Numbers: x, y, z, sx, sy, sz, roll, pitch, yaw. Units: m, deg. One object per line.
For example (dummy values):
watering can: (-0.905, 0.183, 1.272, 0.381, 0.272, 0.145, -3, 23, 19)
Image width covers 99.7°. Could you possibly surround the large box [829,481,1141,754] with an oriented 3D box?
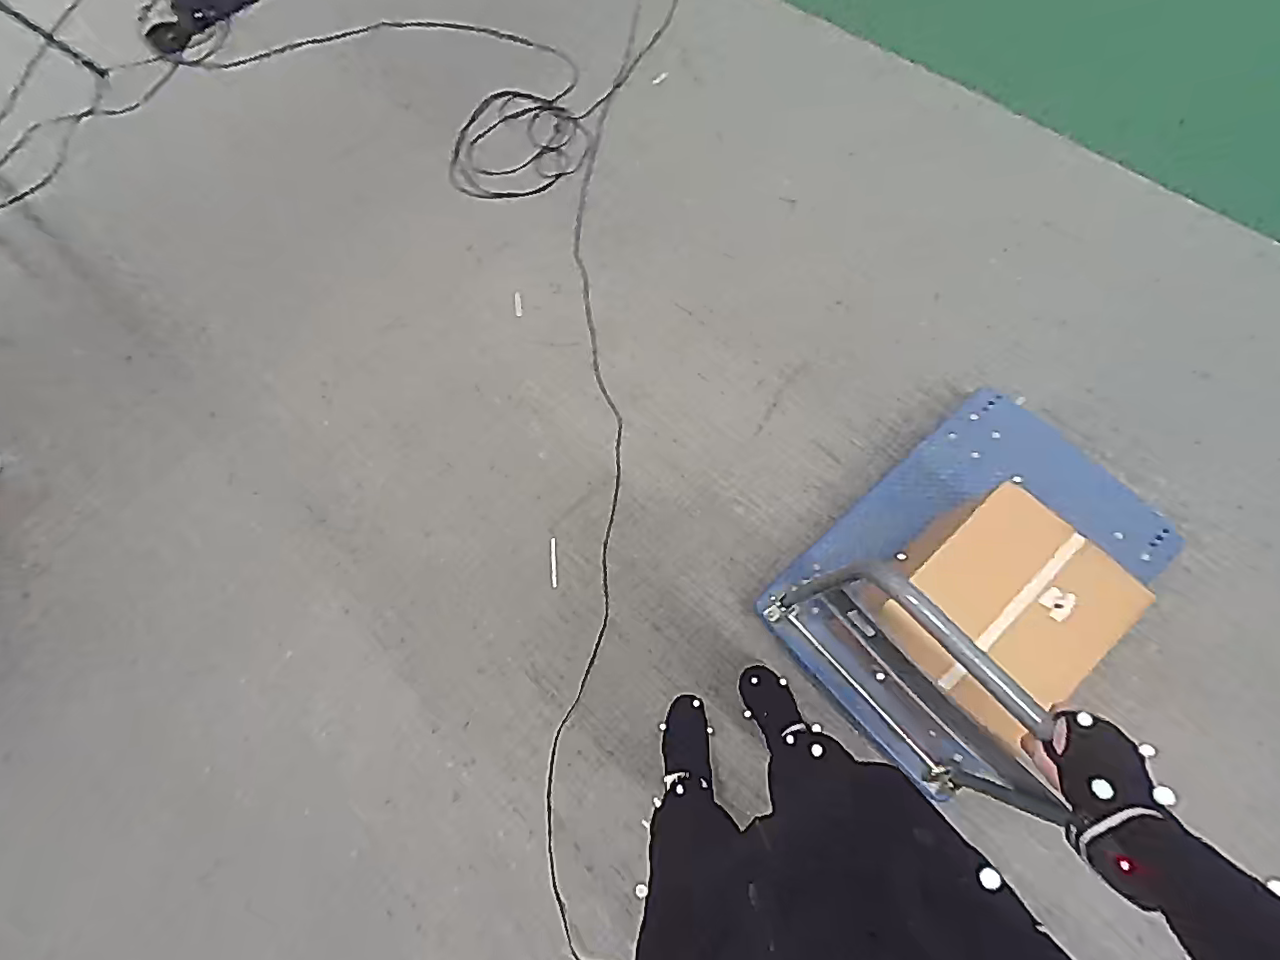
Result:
large box: (0.674, 0.281, 1.129, 0.408, 0.320, 0.320, -42, 75, -9)
